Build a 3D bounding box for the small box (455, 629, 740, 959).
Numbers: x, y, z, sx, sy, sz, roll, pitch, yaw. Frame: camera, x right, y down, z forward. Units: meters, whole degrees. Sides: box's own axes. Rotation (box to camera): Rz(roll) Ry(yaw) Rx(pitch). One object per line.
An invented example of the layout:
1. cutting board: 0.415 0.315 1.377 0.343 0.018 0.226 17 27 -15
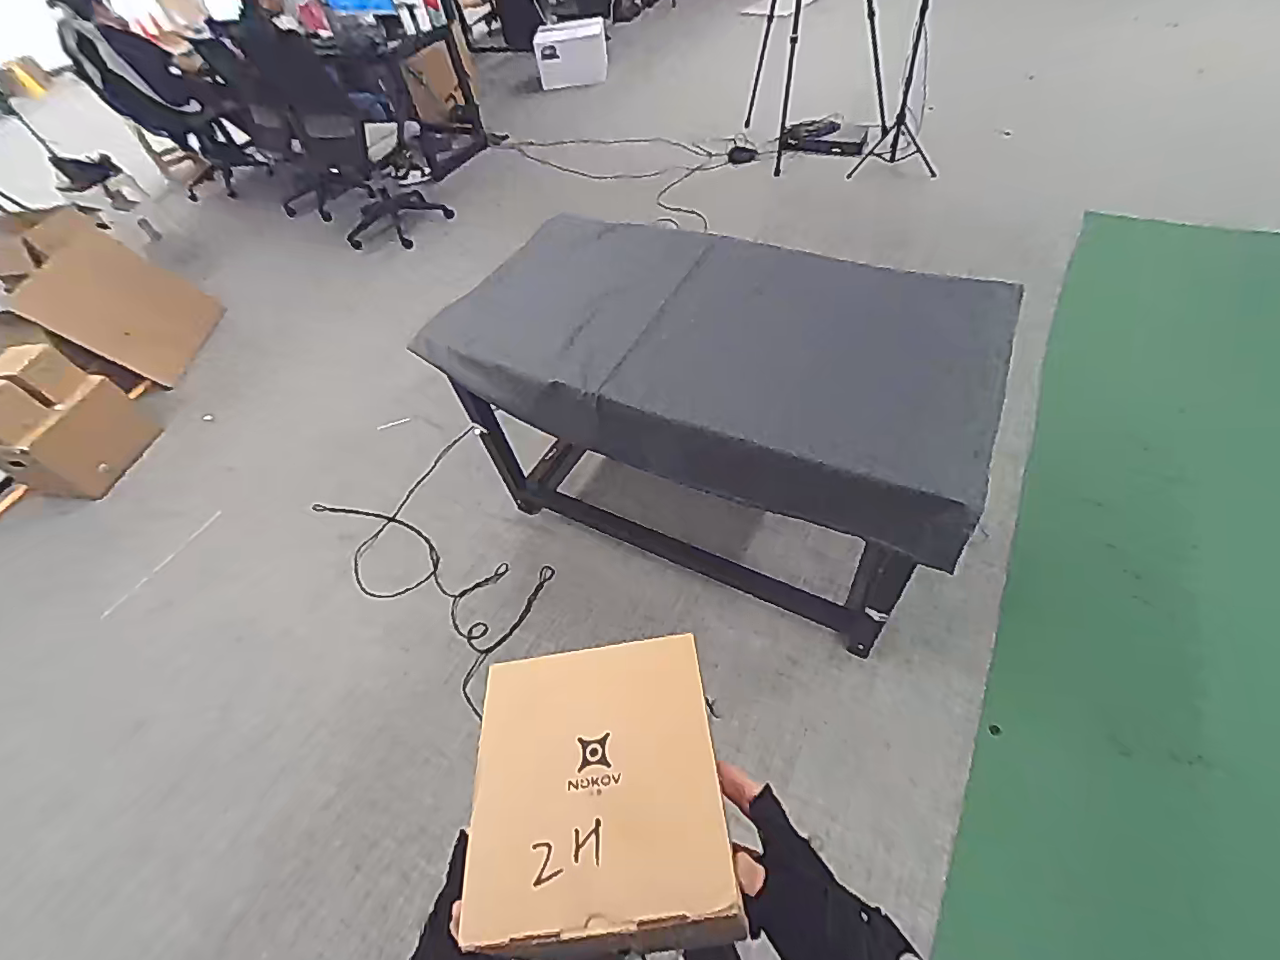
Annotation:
1. small box: -0.020 0.245 0.421 0.168 0.176 0.179 -10 45 3
